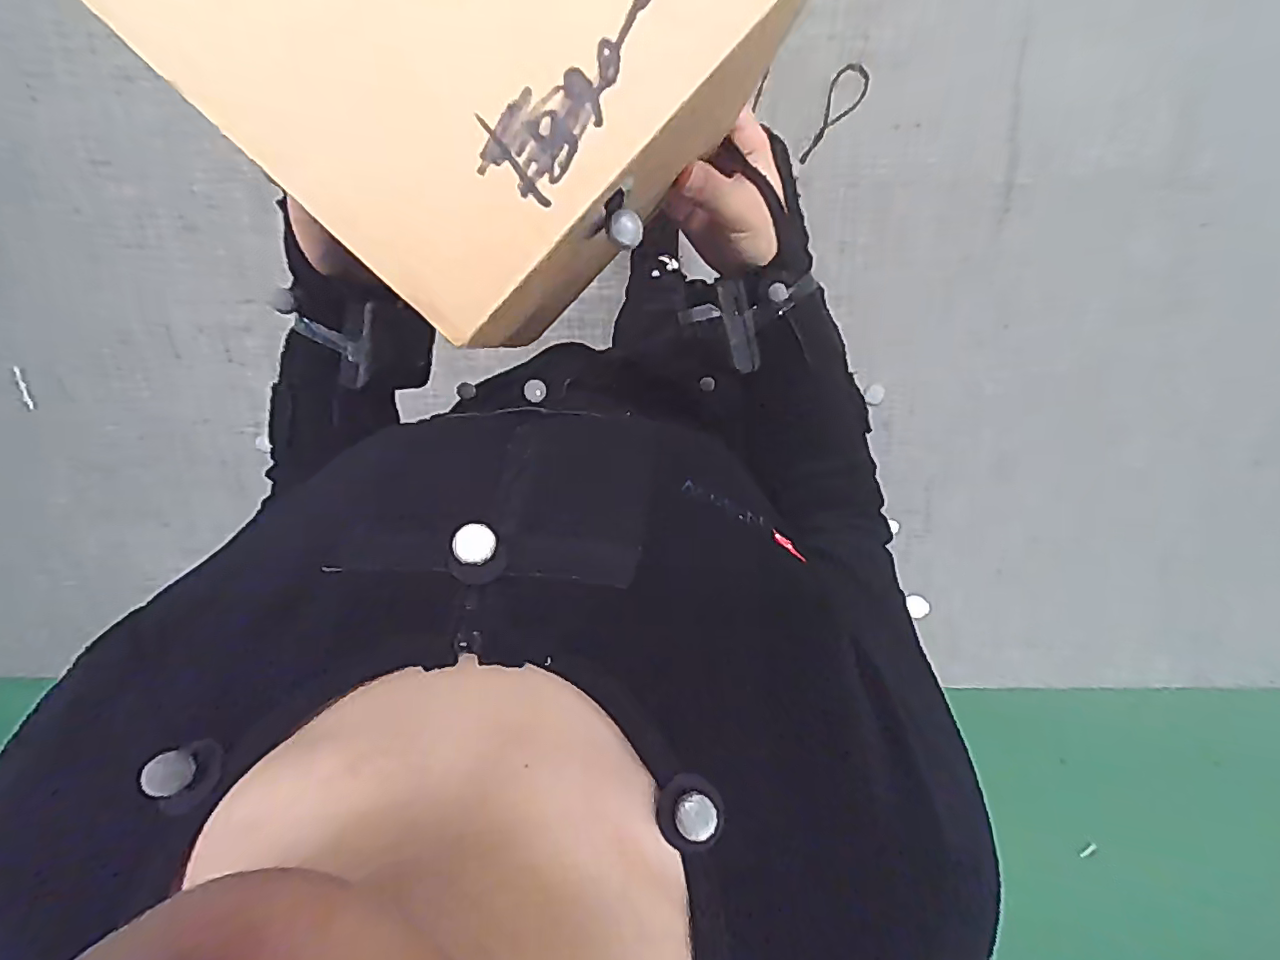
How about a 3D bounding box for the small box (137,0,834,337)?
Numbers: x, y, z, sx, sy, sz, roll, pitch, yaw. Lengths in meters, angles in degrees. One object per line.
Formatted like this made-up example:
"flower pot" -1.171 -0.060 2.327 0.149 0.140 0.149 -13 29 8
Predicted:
"small box" -0.056 -0.175 0.226 0.179 0.176 0.168 43 97 -12
